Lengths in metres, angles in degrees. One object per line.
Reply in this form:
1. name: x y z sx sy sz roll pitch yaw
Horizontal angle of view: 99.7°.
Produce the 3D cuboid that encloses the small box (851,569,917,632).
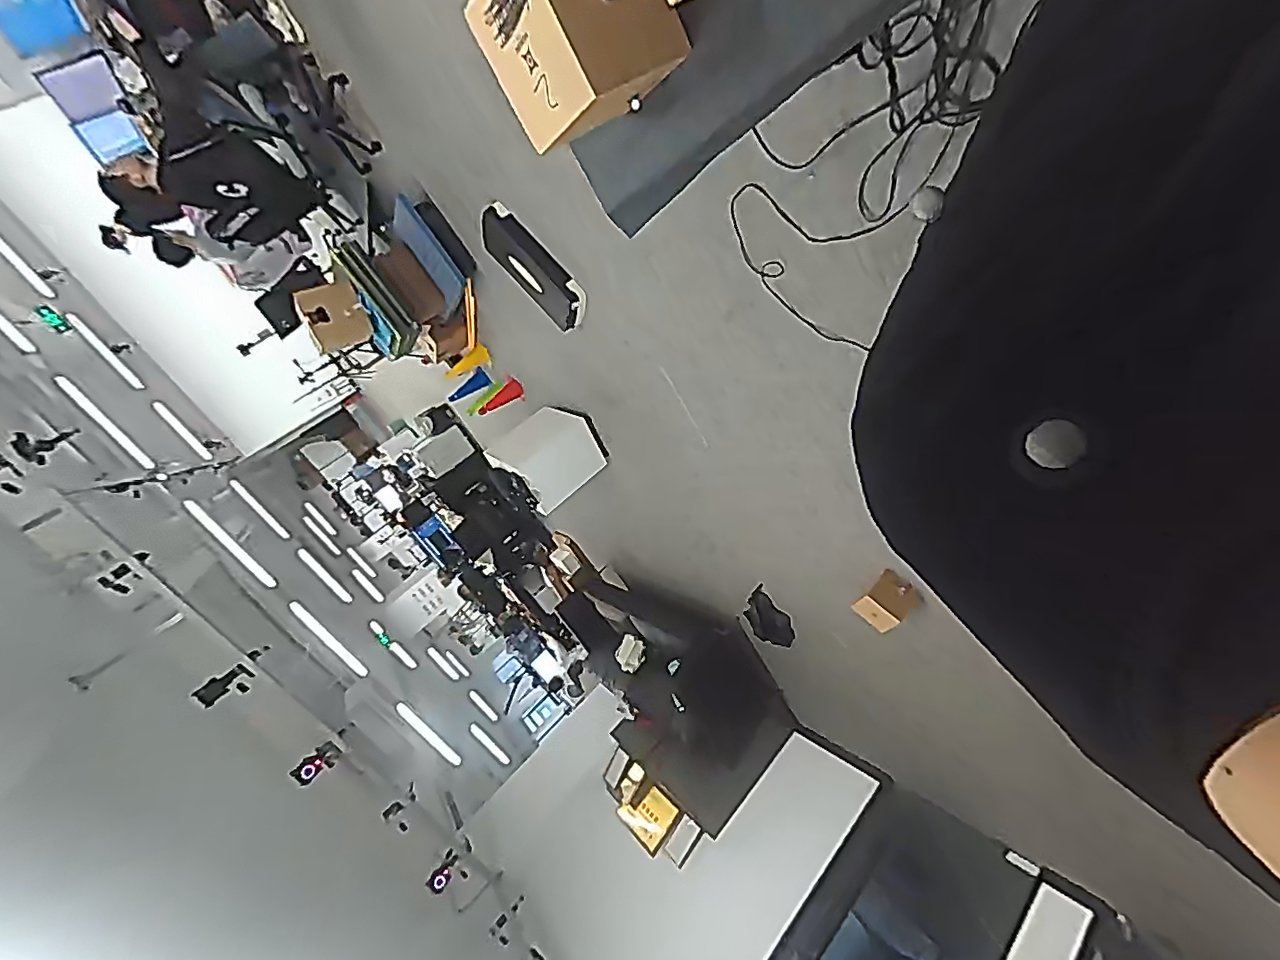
1. small box: 1.035 0.510 2.289 0.168 0.176 0.179 40 156 18
